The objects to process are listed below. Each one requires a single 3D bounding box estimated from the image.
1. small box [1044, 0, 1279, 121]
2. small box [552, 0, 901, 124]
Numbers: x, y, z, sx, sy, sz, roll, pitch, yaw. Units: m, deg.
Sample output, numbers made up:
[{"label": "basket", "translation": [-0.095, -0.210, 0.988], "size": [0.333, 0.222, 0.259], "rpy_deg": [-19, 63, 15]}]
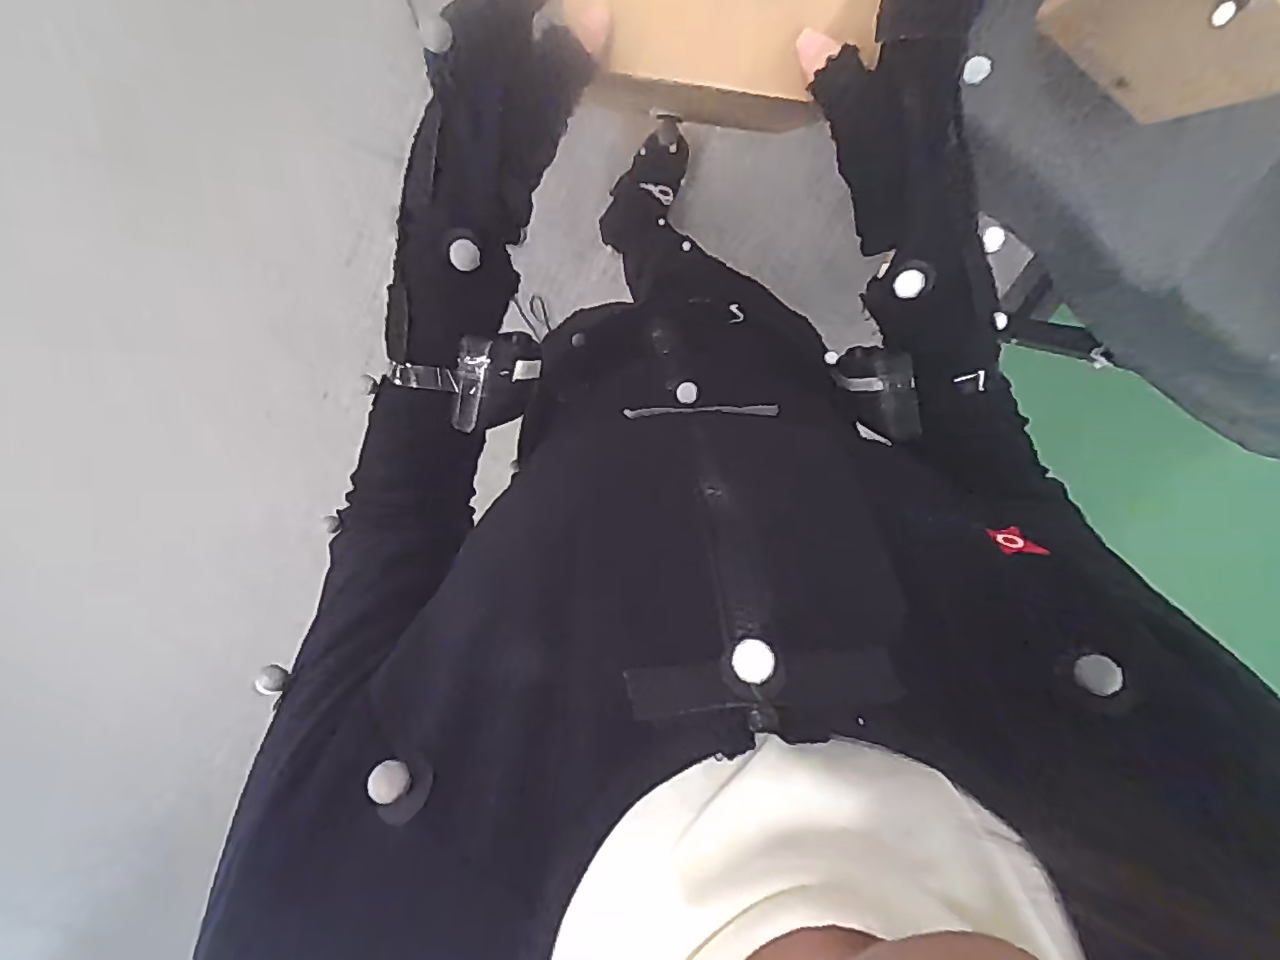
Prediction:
[{"label": "small box", "translation": [0.483, -0.431, 0.424], "size": [0.168, 0.176, 0.179], "rpy_deg": [27, 108, -14]}, {"label": "small box", "translation": [0.047, -0.318, 0.294], "size": [0.168, 0.176, 0.179], "rpy_deg": [7, 118, -6]}]
